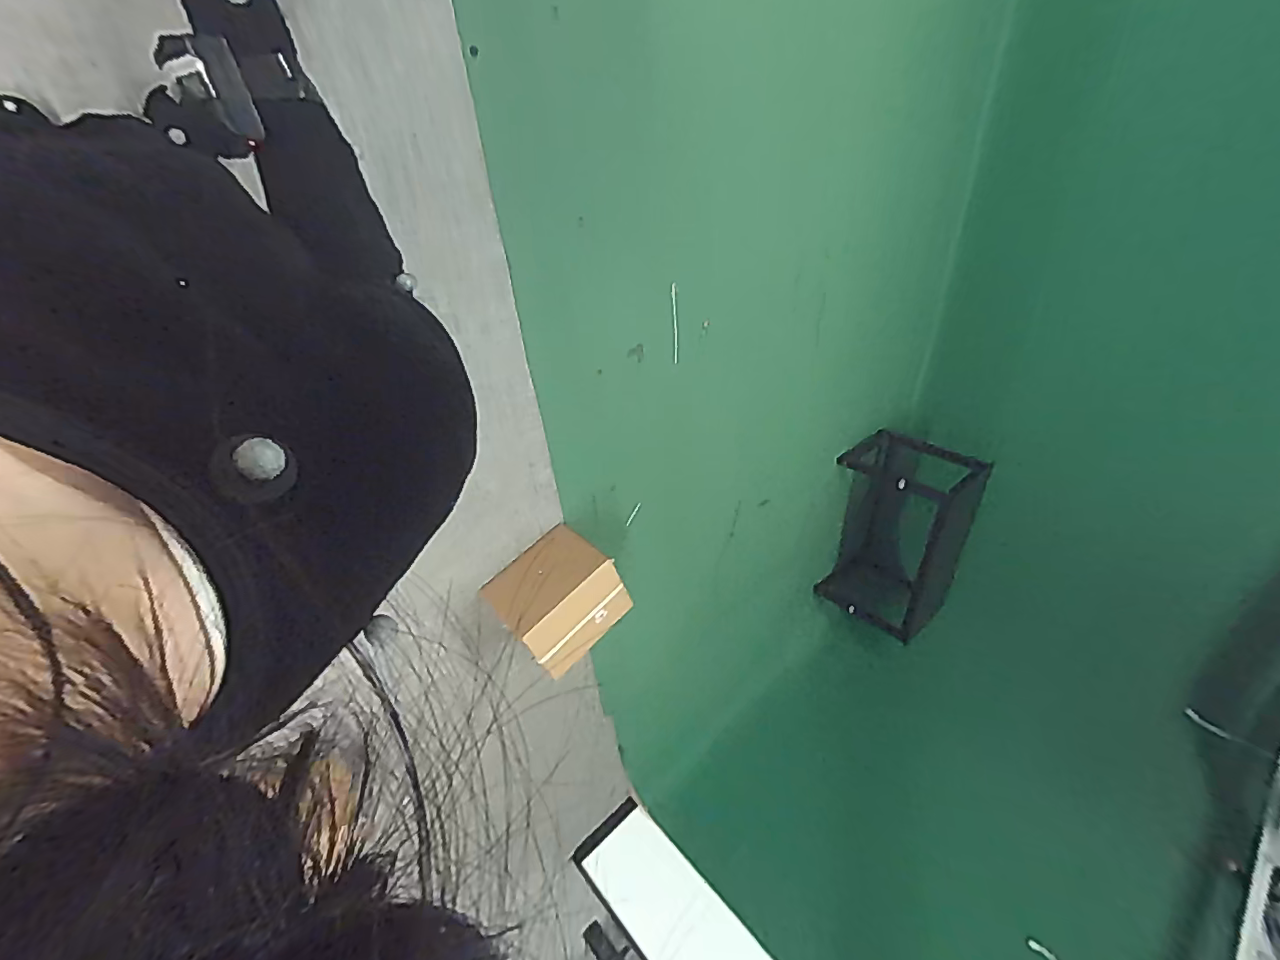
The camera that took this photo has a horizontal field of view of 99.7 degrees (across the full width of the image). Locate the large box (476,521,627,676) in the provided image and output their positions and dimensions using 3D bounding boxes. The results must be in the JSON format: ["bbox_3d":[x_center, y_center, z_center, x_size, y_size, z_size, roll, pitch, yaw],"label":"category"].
[{"bbox_3d":[-0.326,0.434,2.029,0.408,0.320,0.320,-42,137,-22],"label":"large box"}]
